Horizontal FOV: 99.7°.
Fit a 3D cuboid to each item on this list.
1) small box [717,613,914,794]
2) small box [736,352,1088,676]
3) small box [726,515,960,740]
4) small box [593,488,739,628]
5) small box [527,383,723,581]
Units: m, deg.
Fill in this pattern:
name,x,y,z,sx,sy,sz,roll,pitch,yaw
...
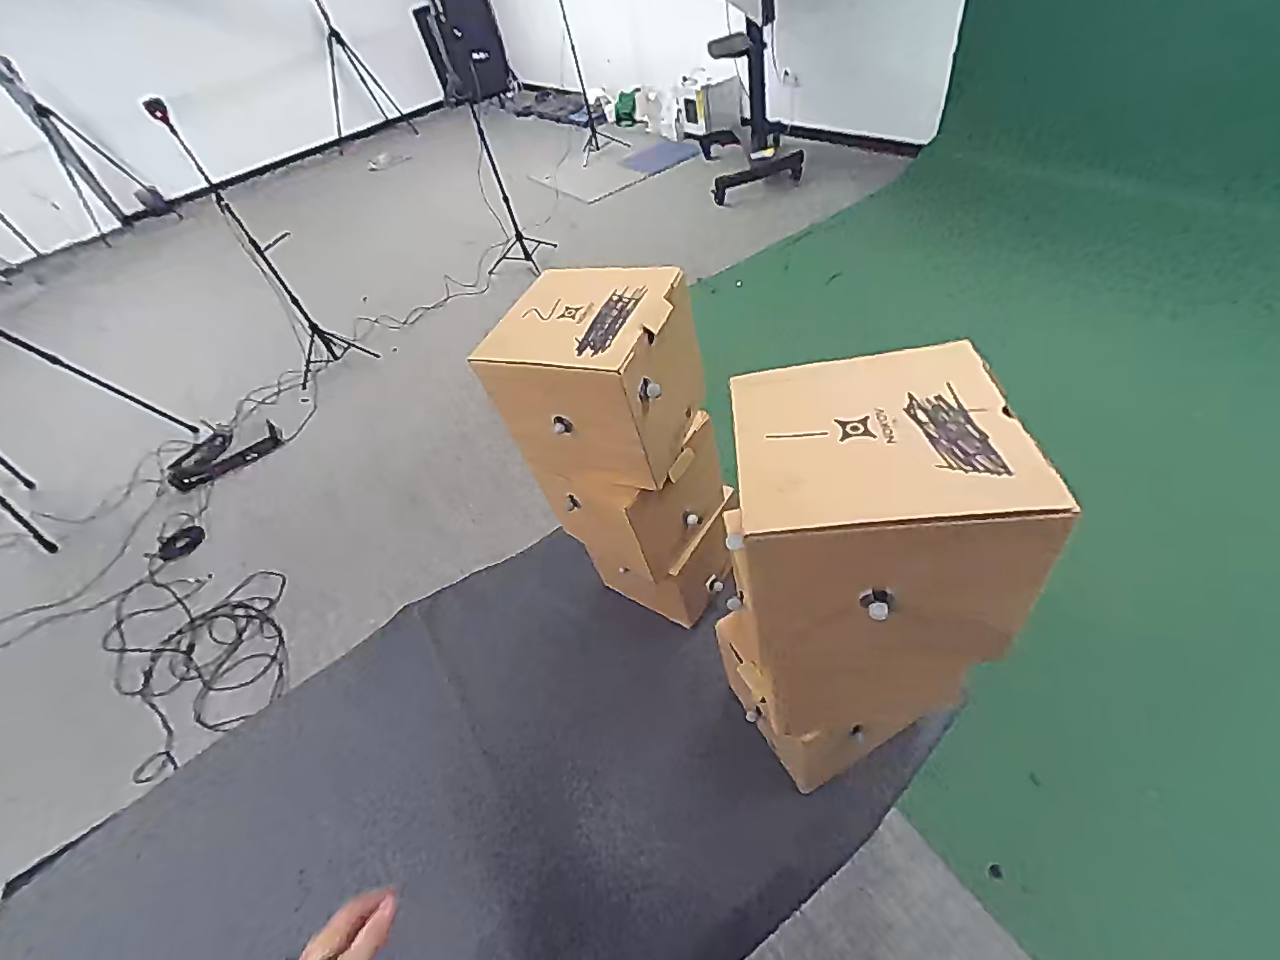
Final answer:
name,x,y,z,sx,sy,sz,roll,pitch,yaw
small box,0.218,0.240,0.653,0.179,0.176,0.168,-28,44,-10
small box,0.169,0.031,0.401,0.179,0.176,0.168,-6,44,12
small box,0.194,0.133,0.531,0.179,0.176,0.168,-12,43,5
small box,0.041,0.101,0.837,0.179,0.176,0.168,22,59,29
small box,-0.010,0.004,0.712,0.179,0.176,0.168,25,62,33
